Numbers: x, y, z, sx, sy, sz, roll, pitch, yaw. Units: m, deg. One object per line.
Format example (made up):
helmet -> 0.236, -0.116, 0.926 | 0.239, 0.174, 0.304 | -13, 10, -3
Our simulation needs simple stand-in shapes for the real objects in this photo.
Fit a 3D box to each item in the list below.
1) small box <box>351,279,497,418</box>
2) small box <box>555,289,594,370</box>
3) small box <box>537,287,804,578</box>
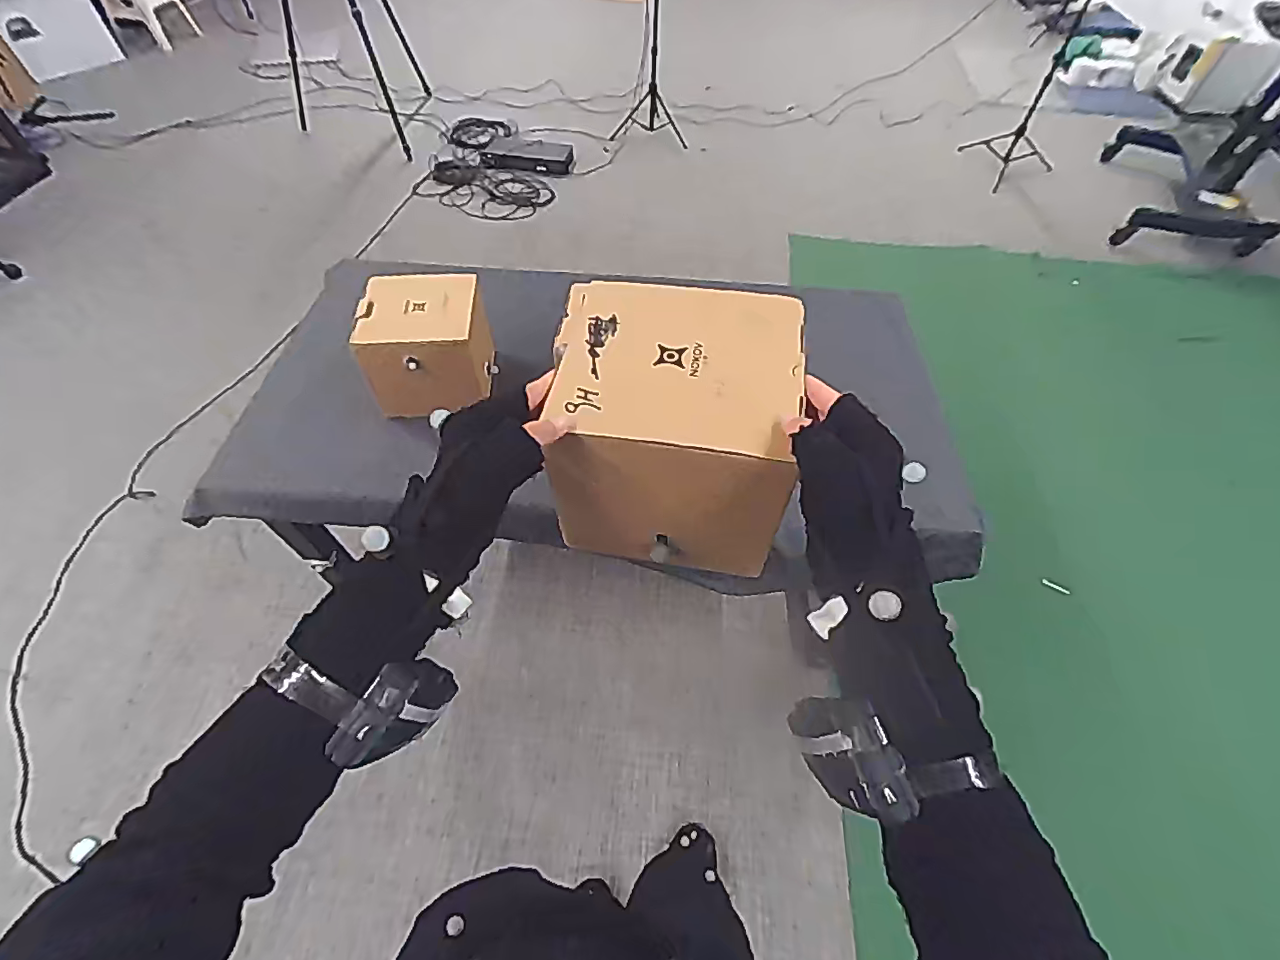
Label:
small box -> -0.352, -0.218, 0.917 | 0.179, 0.176, 0.168 | -2, 55, -4
small box -> -0.036, -0.195, 0.910 | 0.179, 0.176, 0.168 | 6, 54, 2
small box -> 0.029, -0.033, 0.458 | 0.179, 0.176, 0.168 | 9, 54, 5
